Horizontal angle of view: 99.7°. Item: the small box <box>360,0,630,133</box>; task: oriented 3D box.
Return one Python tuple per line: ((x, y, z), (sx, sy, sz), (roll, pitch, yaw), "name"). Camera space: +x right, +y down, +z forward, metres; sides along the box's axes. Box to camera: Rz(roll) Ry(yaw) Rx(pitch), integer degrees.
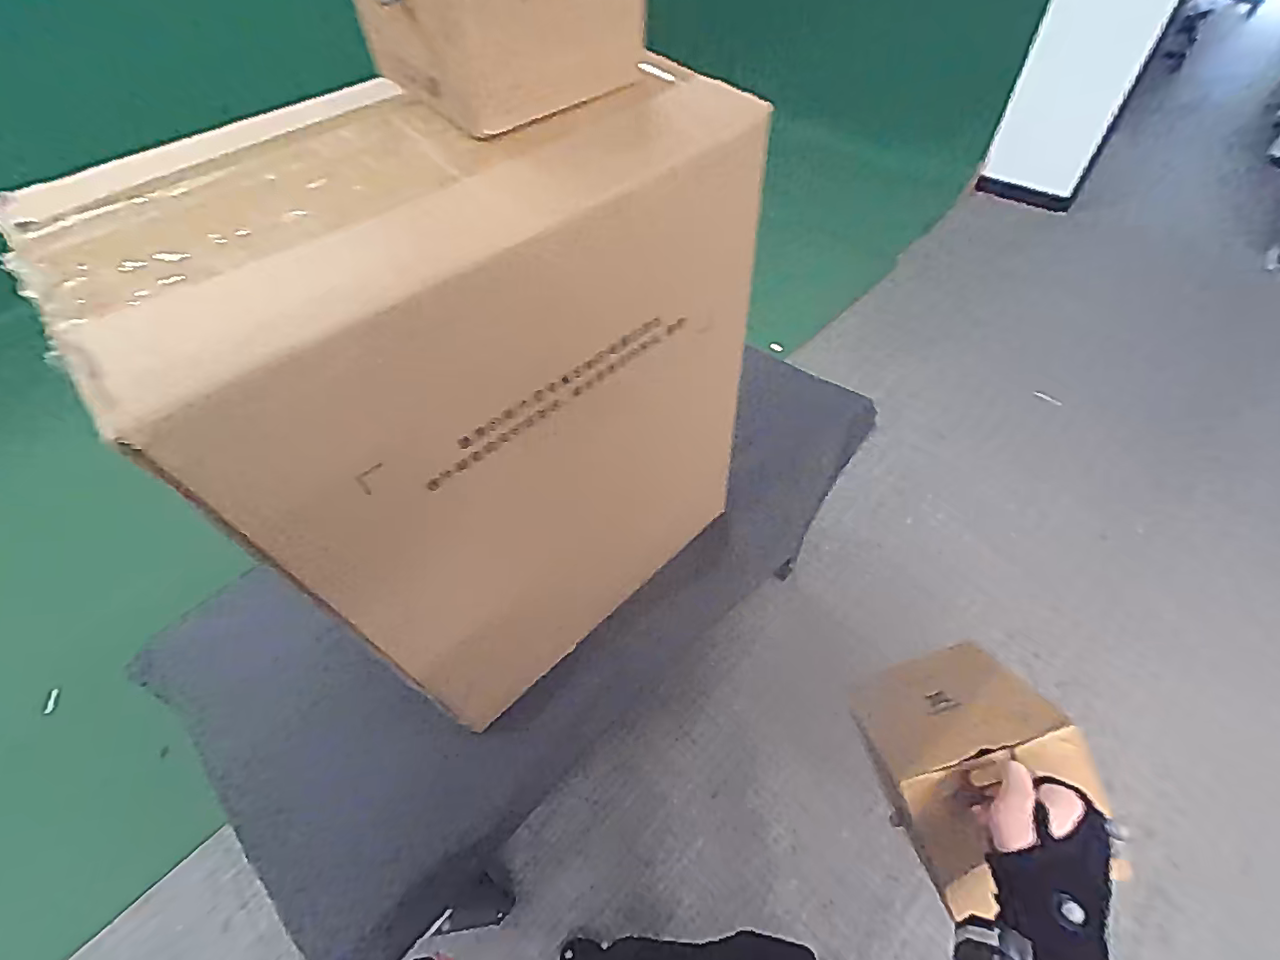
((-0.118, -0.406, 0.421), (0.179, 0.176, 0.168), (-38, 66, -22), "small box")
